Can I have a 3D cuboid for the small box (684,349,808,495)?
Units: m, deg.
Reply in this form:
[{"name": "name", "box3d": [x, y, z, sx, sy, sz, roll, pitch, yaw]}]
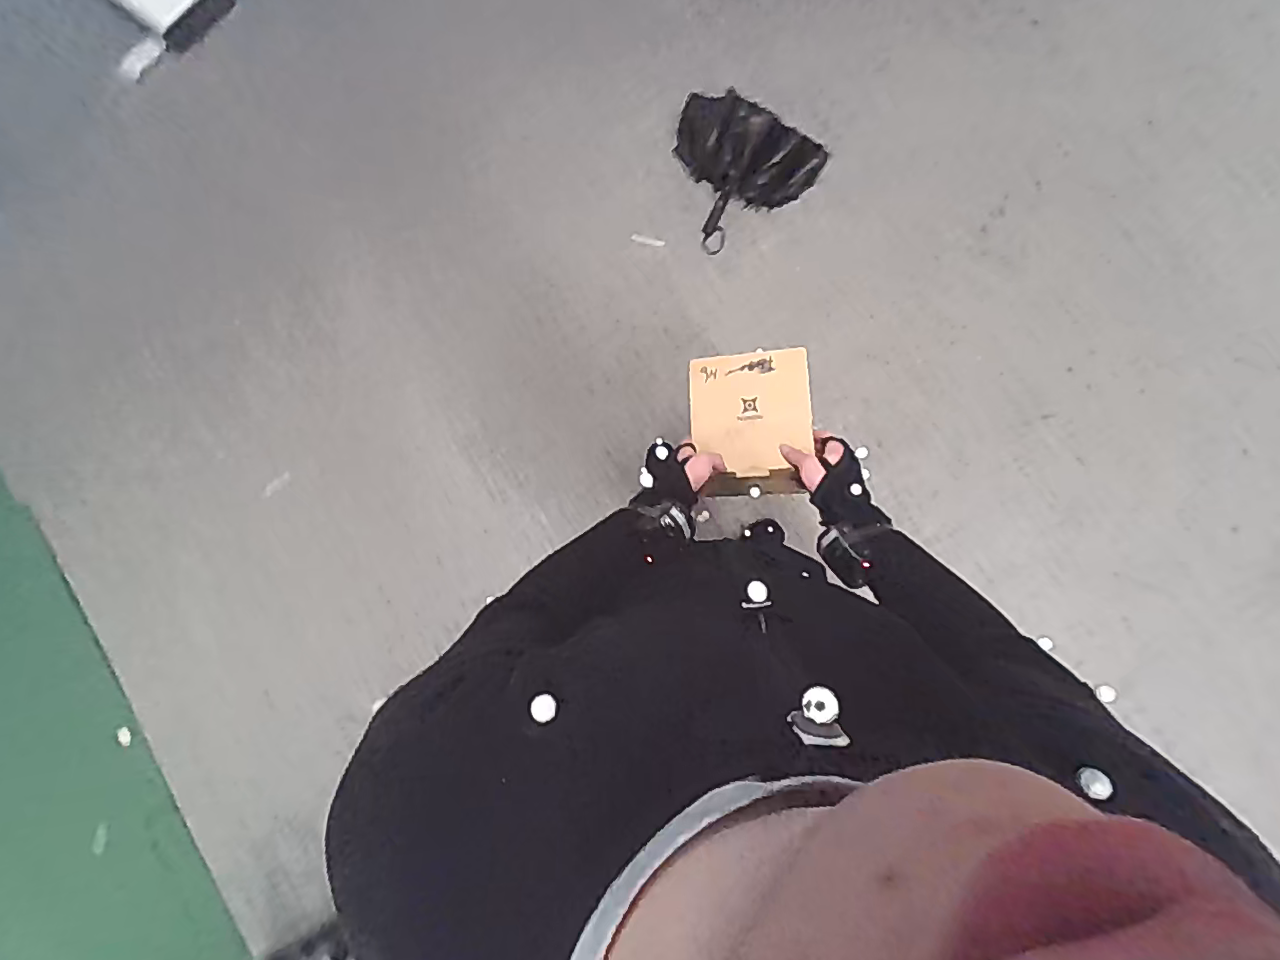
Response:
[{"name": "small box", "box3d": [0.160, -0.074, 0.805, 0.168, 0.176, 0.179, -3, 77, 13]}]
